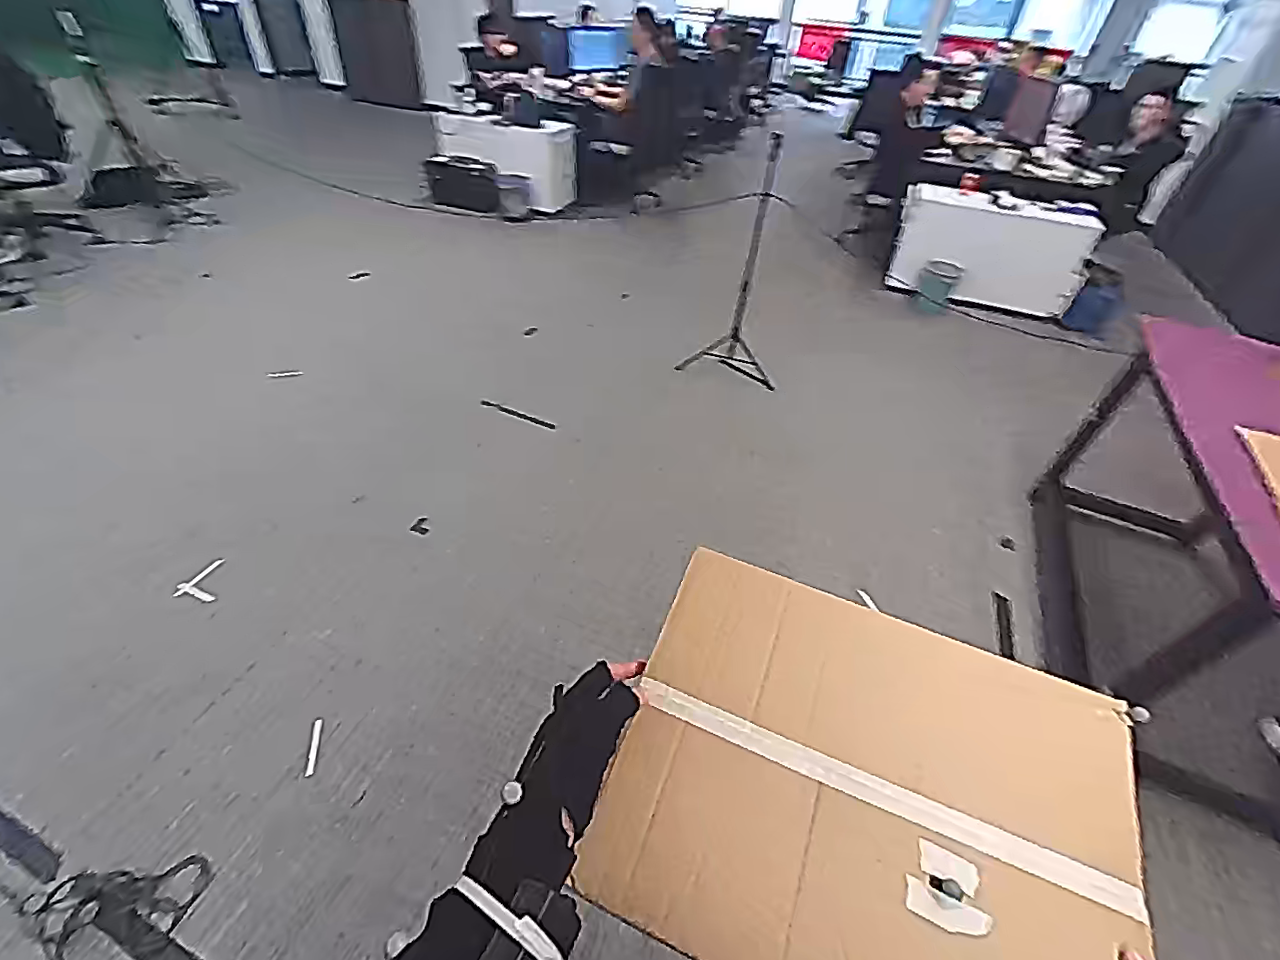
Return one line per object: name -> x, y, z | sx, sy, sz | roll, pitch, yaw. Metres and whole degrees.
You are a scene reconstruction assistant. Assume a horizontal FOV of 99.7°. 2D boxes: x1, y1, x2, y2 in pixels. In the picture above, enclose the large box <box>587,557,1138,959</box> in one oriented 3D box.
large box -> 0.193, 0.340, 0.581 | 0.408, 0.320, 0.320 | 19, 59, 13
